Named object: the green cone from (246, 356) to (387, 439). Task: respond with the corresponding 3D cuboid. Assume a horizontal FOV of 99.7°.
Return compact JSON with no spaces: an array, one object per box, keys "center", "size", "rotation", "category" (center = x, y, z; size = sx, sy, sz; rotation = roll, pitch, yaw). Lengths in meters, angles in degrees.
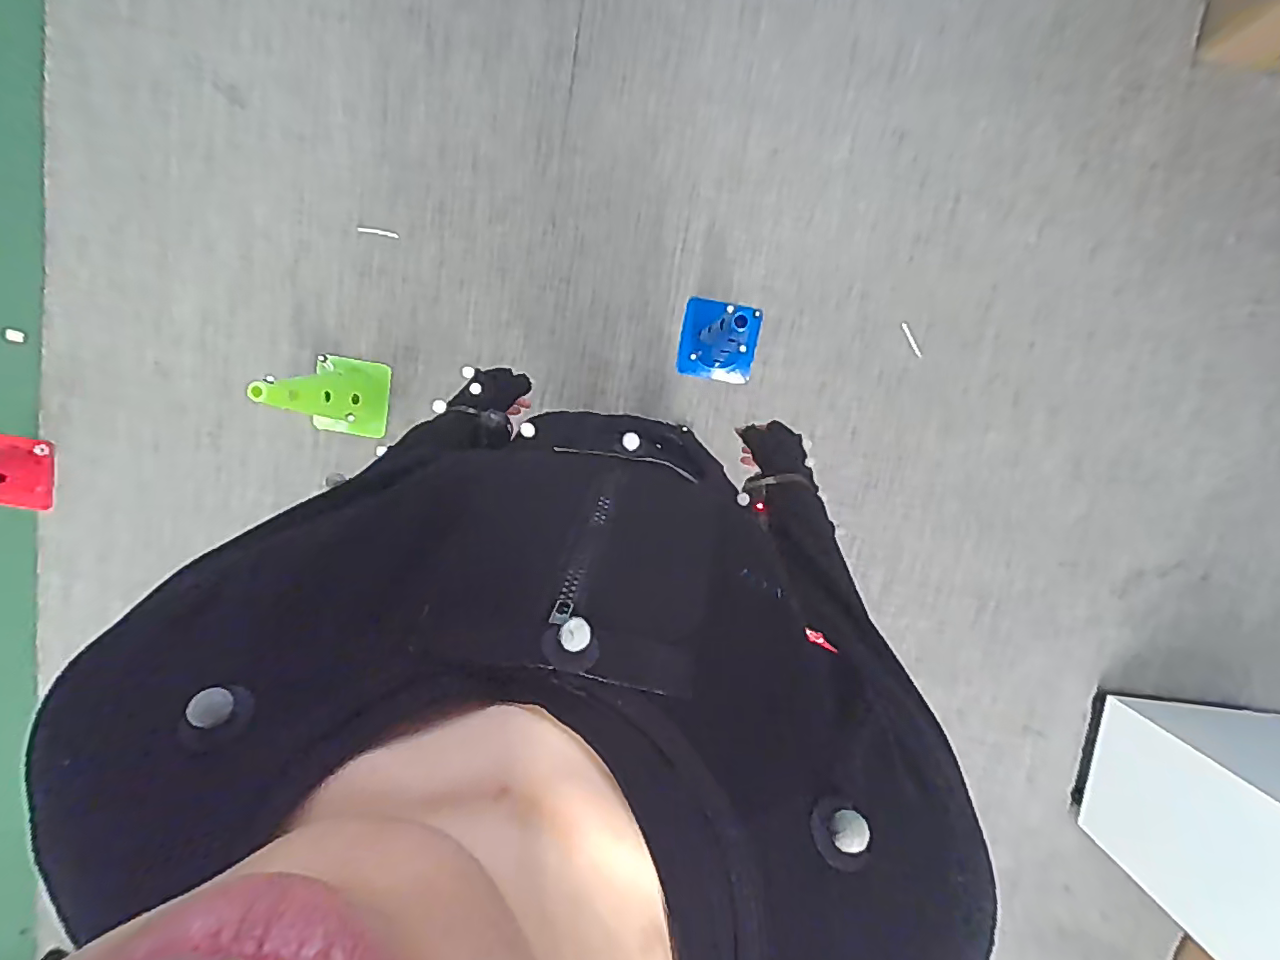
[{"center":[-0.783,-0.195,1.271],"size":[0.202,0.368,0.200],"rotation":[8,98,0],"category":"green cone"}]
